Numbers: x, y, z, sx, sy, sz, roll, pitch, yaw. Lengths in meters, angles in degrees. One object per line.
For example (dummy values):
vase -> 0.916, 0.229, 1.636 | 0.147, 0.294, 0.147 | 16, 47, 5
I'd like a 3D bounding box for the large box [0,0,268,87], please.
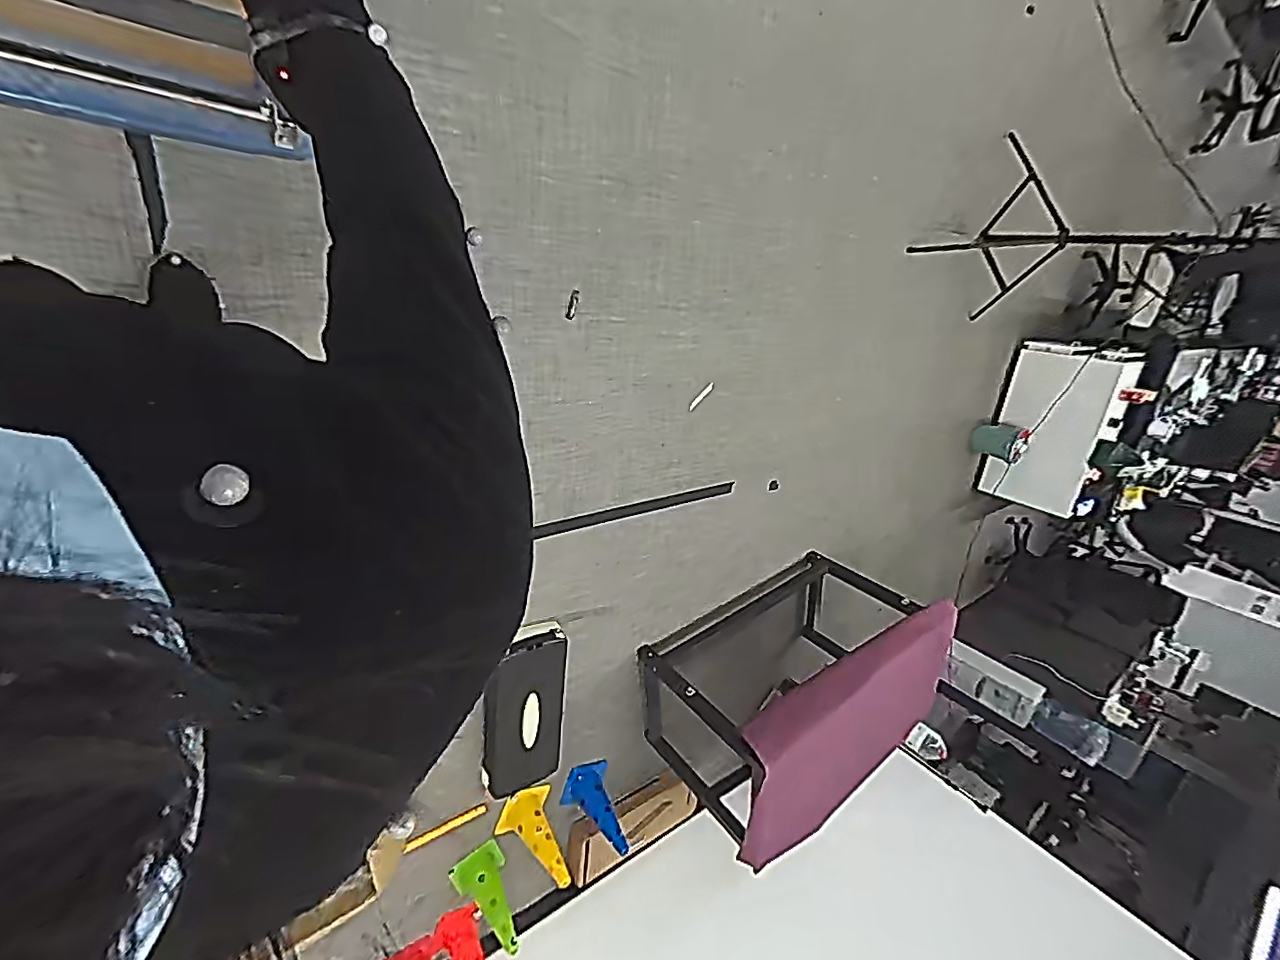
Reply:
large box -> -0.712, -0.734, 0.640 | 0.408, 0.320, 0.320 | -8, 114, -37
